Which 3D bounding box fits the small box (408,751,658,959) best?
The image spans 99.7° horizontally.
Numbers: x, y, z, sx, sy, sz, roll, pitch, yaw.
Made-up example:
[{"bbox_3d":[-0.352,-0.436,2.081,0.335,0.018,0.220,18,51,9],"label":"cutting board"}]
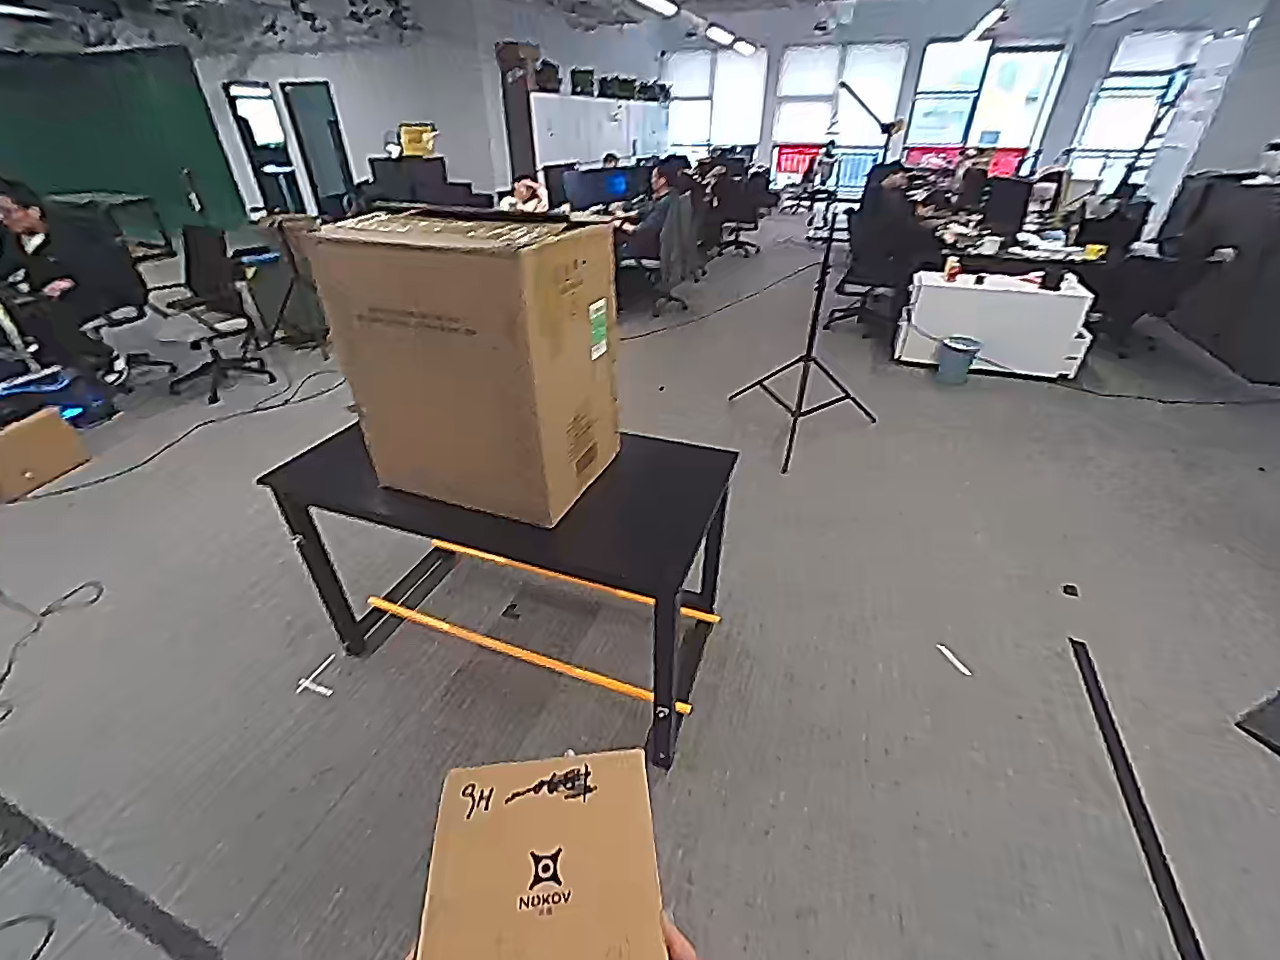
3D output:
[{"bbox_3d":[-0.073,0.348,0.431,0.168,0.176,0.179,-4,41,-6],"label":"small box"}]
